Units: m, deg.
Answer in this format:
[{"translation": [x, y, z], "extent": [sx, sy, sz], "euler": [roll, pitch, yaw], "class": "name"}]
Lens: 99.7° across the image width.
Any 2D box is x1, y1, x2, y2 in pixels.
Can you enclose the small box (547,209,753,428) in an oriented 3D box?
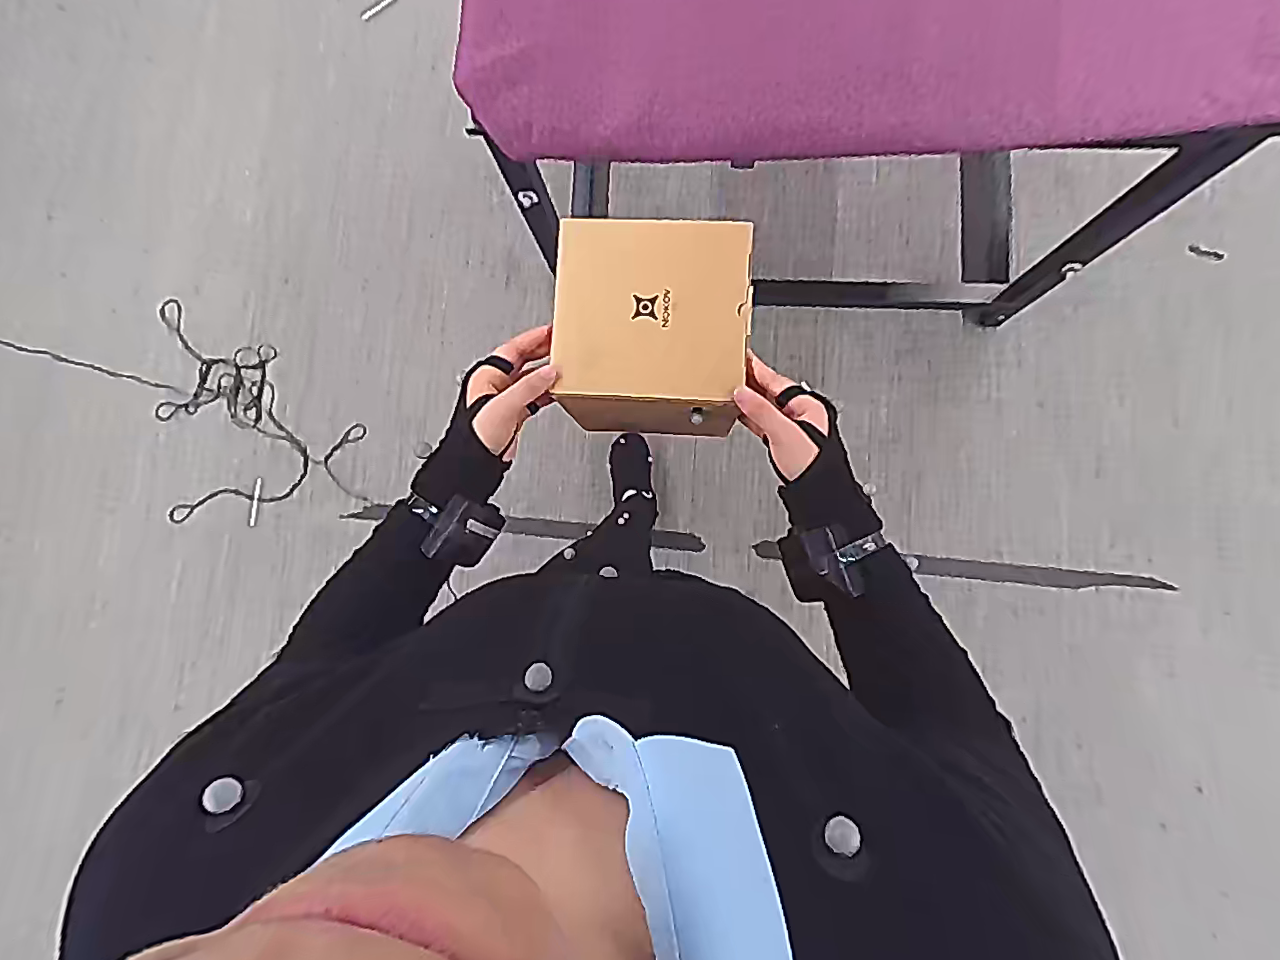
[{"translation": [0.015, -0.153, 0.560], "extent": [0.179, 0.176, 0.168], "euler": [3, 84, 3], "class": "small box"}]
